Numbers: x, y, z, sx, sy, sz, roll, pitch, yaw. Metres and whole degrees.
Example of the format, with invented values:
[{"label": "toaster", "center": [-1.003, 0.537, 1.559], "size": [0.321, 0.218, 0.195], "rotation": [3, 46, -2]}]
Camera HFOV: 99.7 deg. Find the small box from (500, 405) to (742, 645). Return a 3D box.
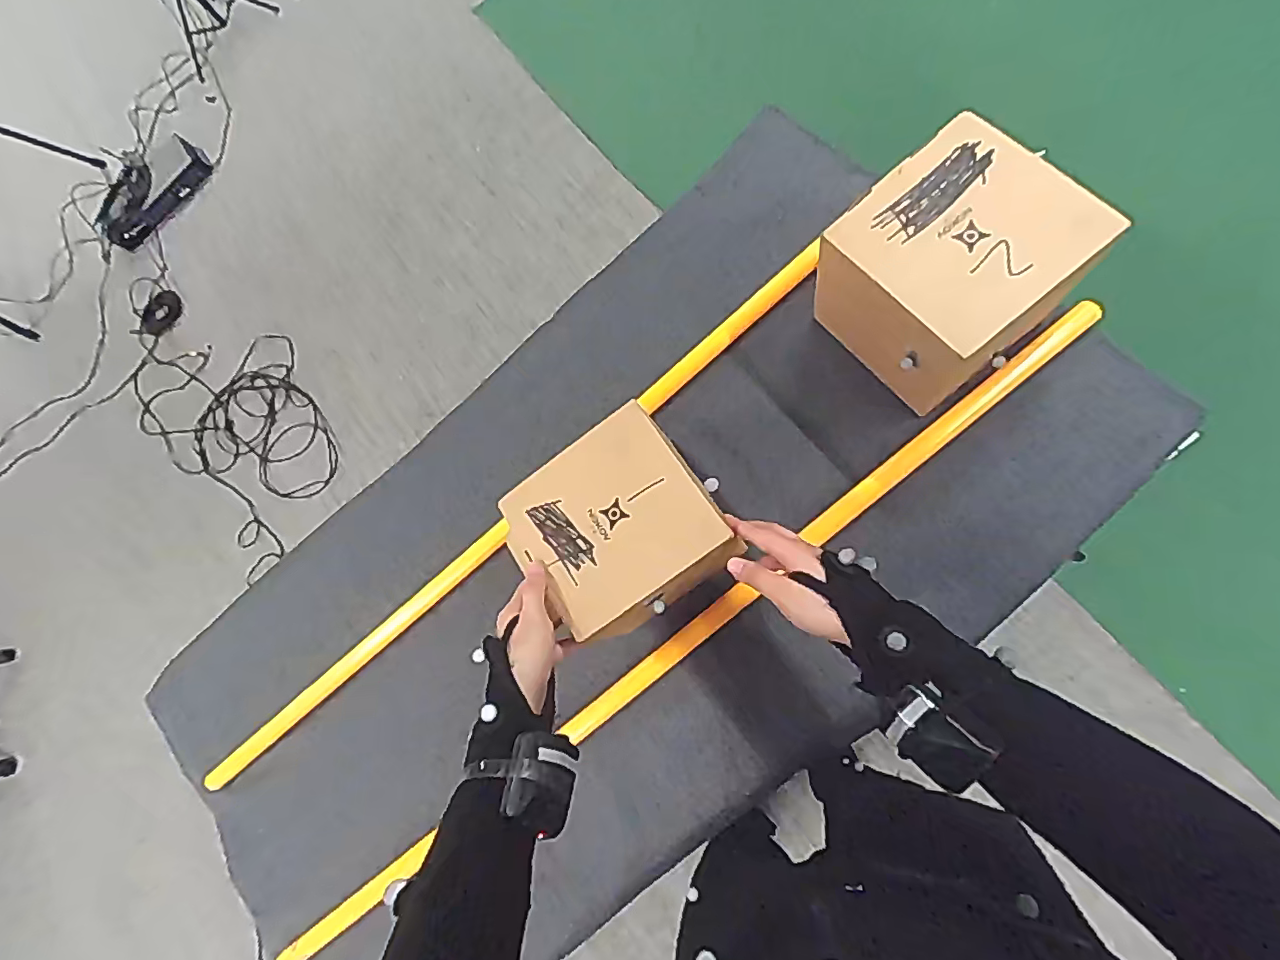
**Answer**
[{"label": "small box", "center": [-0.008, 0.055, 0.580], "size": [0.179, 0.176, 0.168], "rotation": [-36, 72, 6]}]
